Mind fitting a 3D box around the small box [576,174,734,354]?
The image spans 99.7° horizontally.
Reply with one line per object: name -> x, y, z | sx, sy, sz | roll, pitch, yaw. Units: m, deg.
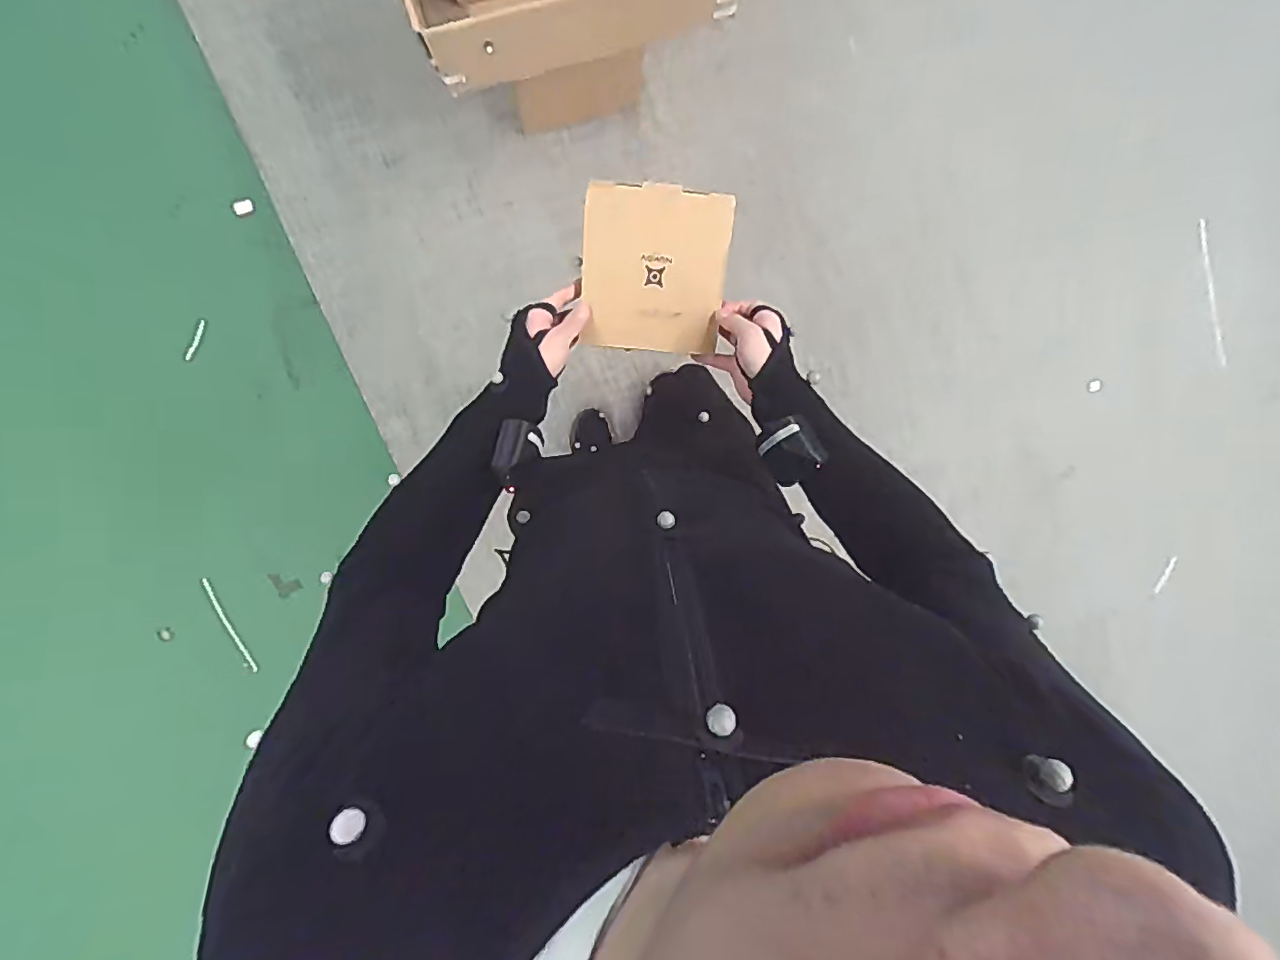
small box -> 0.009, -0.267, 0.687 | 0.168, 0.176, 0.179 | 5, 110, -5
